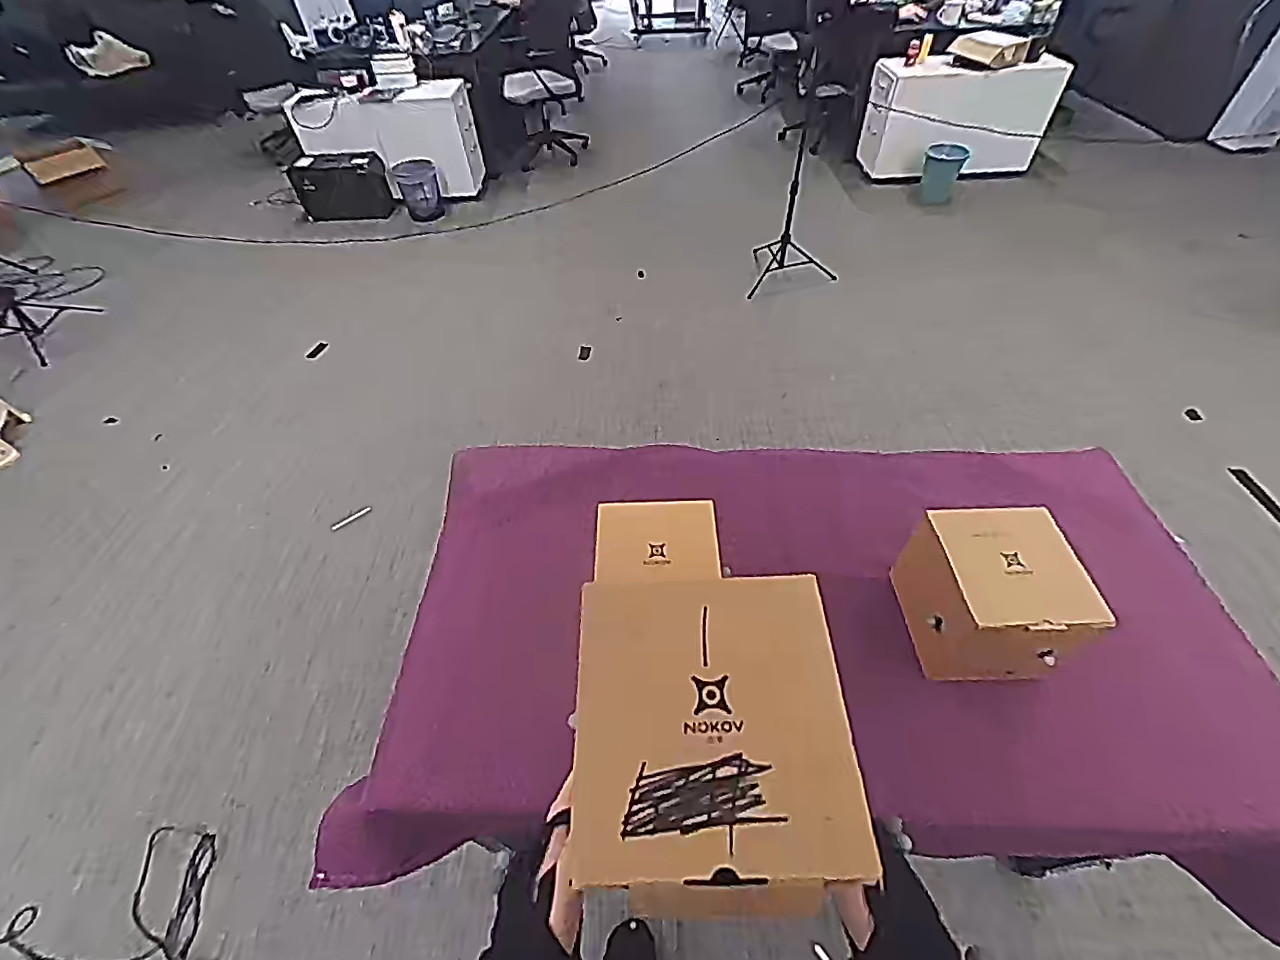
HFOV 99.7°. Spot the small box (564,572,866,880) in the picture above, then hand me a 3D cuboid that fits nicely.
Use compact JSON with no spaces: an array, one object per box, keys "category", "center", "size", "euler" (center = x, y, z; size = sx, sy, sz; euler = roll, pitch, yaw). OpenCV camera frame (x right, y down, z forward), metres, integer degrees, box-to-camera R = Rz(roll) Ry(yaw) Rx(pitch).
[{"category":"small box","center":[0.043,0.183,0.401],"size":[0.168,0.176,0.179],"euler":[-1,56,1]}]

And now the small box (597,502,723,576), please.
[{"category":"small box","center":[0.027,0.150,0.776],"size":[0.168,0.176,0.179],"euler":[-2,50,1]}]

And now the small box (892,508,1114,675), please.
[{"category":"small box","center":[0.475,0.158,0.744],"size":[0.168,0.176,0.179],"euler":[-1,49,1]}]
